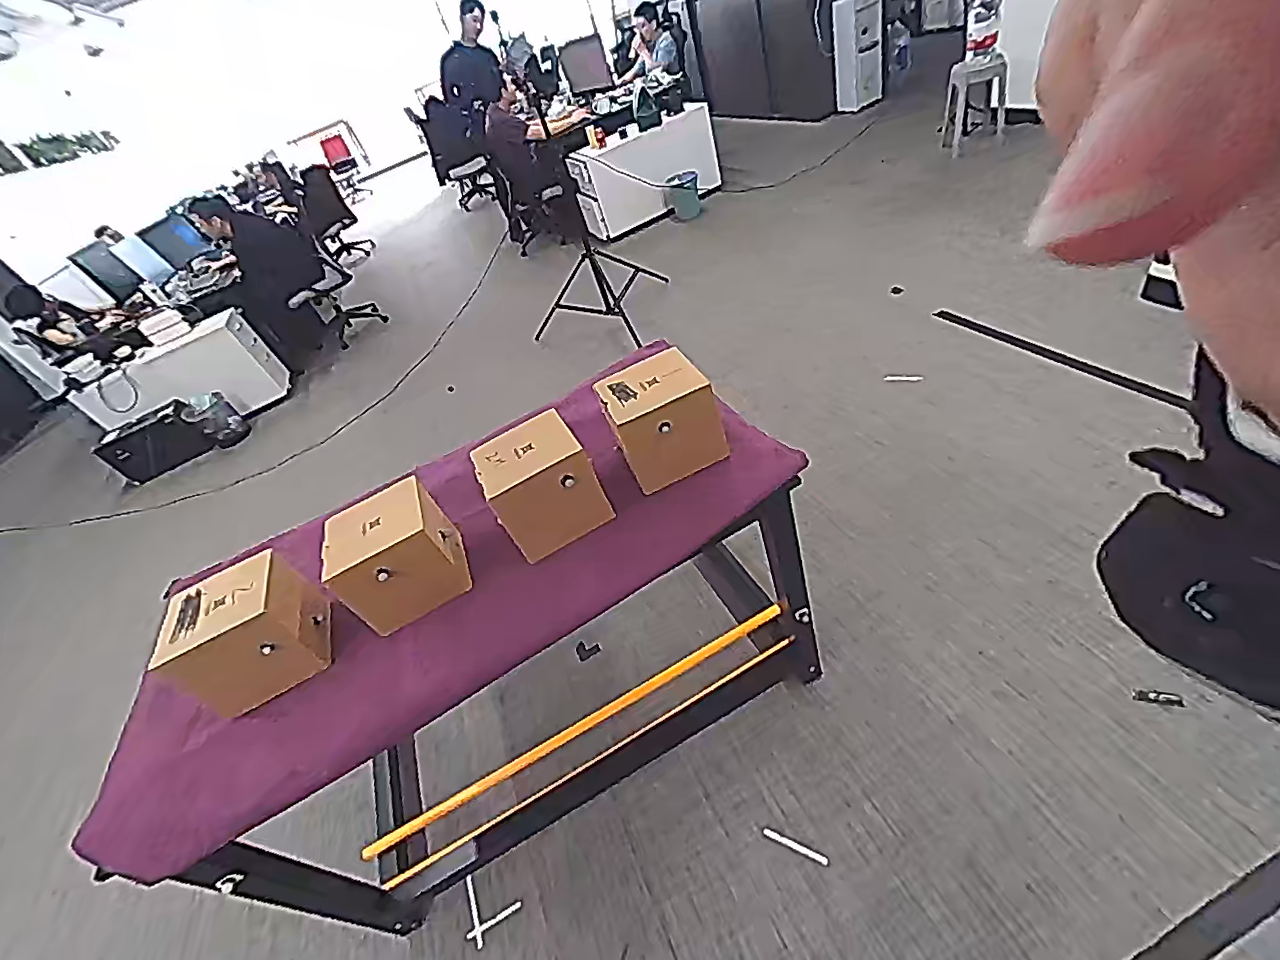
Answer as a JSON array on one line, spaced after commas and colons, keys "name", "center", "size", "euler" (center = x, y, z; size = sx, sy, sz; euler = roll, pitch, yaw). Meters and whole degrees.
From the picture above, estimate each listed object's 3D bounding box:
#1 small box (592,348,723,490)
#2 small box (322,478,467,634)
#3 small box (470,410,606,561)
[{"name": "small box", "center": [0.035, -0.110, 1.005], "size": [0.179, 0.176, 0.168], "euler": [-25, 40, -3]}, {"name": "small box", "center": [-0.425, 0.135, 0.959], "size": [0.179, 0.176, 0.168], "euler": [-29, 41, -7]}, {"name": "small box", "center": [-0.176, 0.010, 0.973], "size": [0.179, 0.176, 0.168], "euler": [-30, 39, -8]}]
